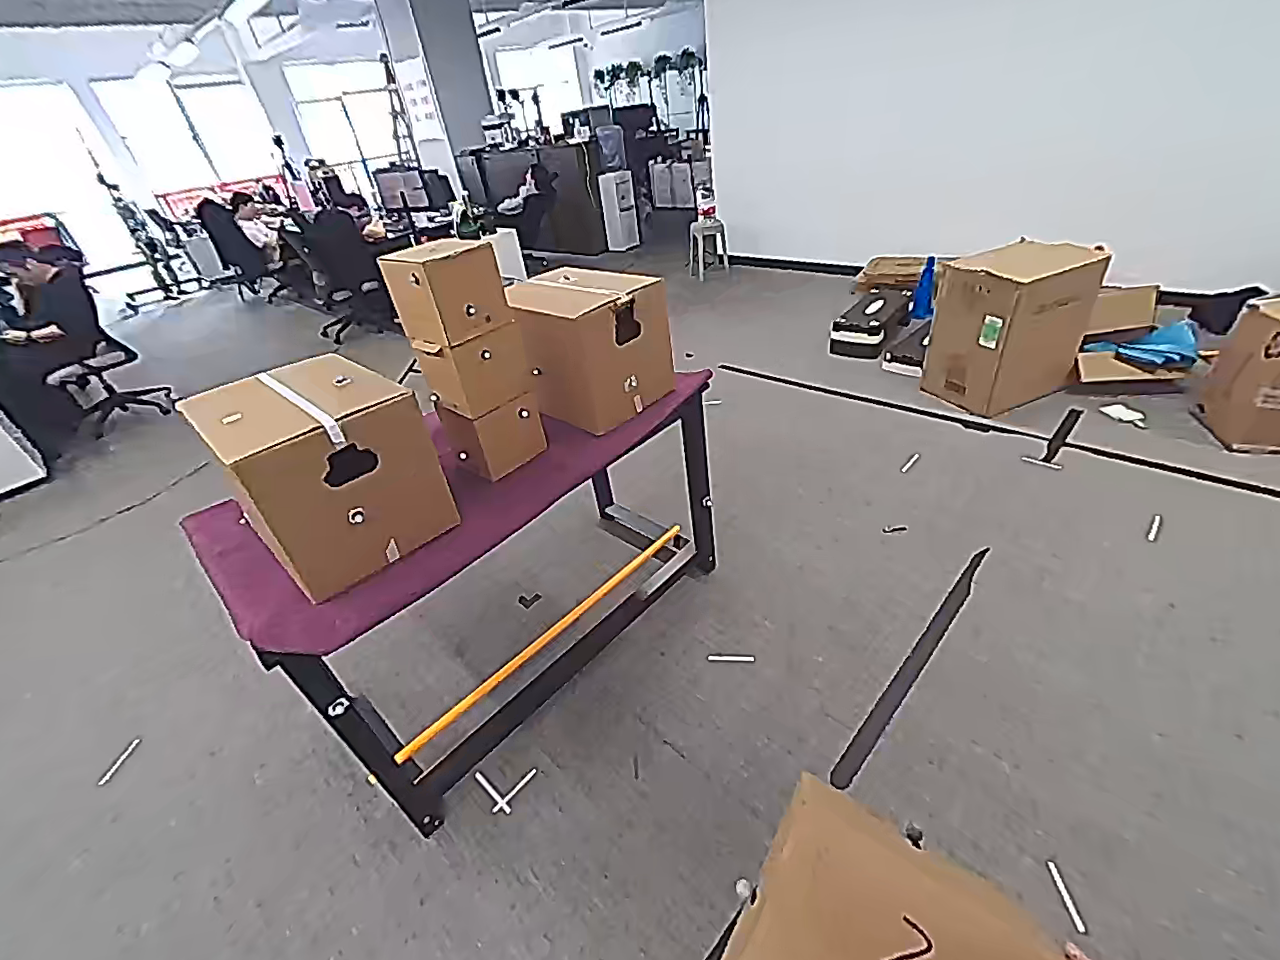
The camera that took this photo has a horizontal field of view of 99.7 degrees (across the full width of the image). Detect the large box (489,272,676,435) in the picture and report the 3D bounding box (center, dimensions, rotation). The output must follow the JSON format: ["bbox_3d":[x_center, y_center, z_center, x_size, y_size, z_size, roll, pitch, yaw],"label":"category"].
[{"bbox_3d":[-0.159,-0.361,1.484,0.408,0.320,0.320,23,45,39],"label":"large box"}]

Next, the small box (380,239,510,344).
[{"bbox_3d":[-0.403,-0.397,1.134,0.179,0.176,0.168,20,43,34],"label":"small box"}]
